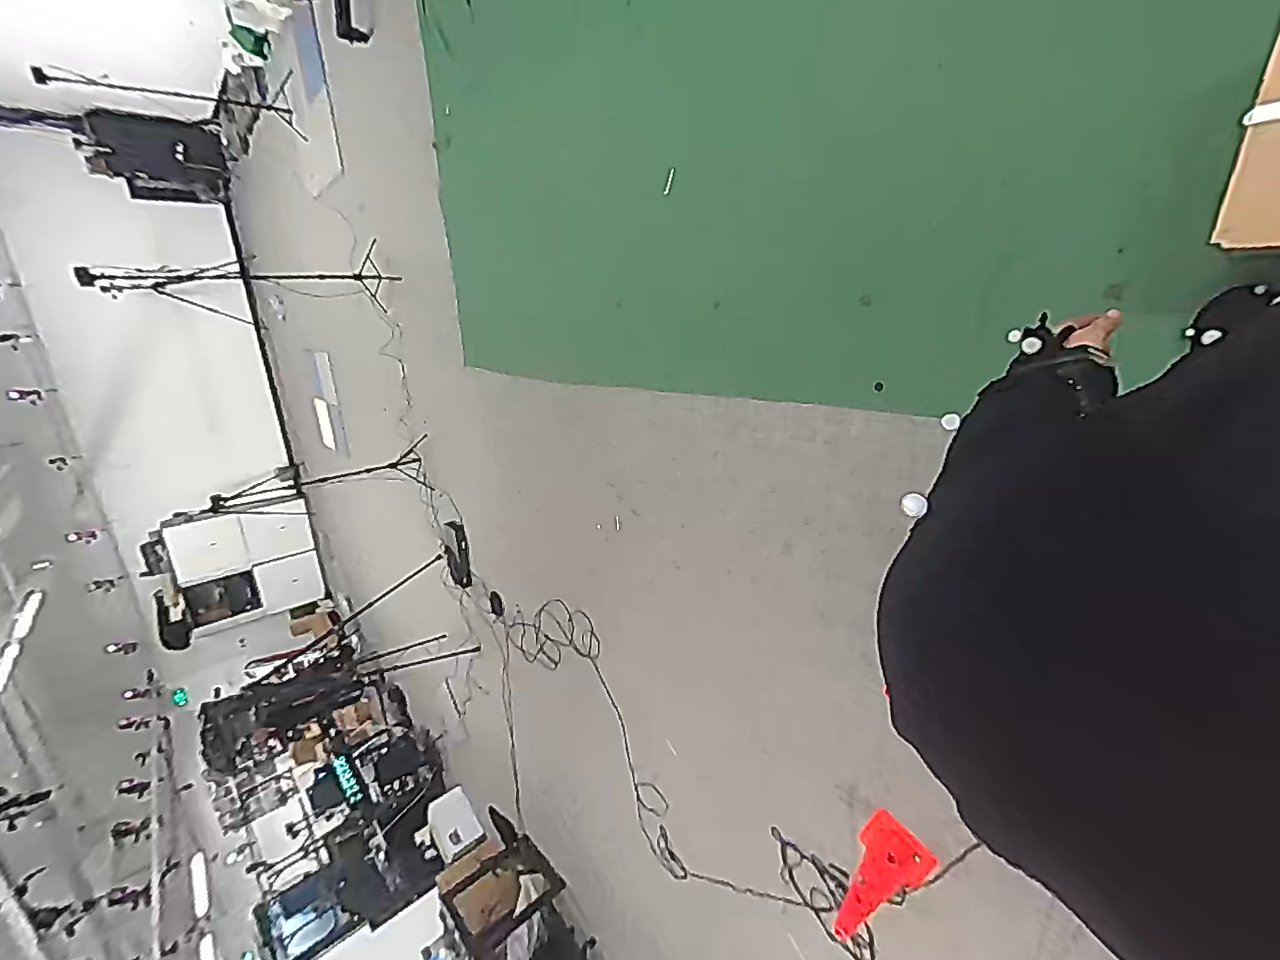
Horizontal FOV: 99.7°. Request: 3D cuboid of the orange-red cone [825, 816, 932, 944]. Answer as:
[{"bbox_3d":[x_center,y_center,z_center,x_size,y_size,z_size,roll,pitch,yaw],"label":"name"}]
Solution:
[{"bbox_3d":[0.651,1.205,1.575,0.199,0.360,0.198,40,130,37],"label":"orange-red cone"}]
